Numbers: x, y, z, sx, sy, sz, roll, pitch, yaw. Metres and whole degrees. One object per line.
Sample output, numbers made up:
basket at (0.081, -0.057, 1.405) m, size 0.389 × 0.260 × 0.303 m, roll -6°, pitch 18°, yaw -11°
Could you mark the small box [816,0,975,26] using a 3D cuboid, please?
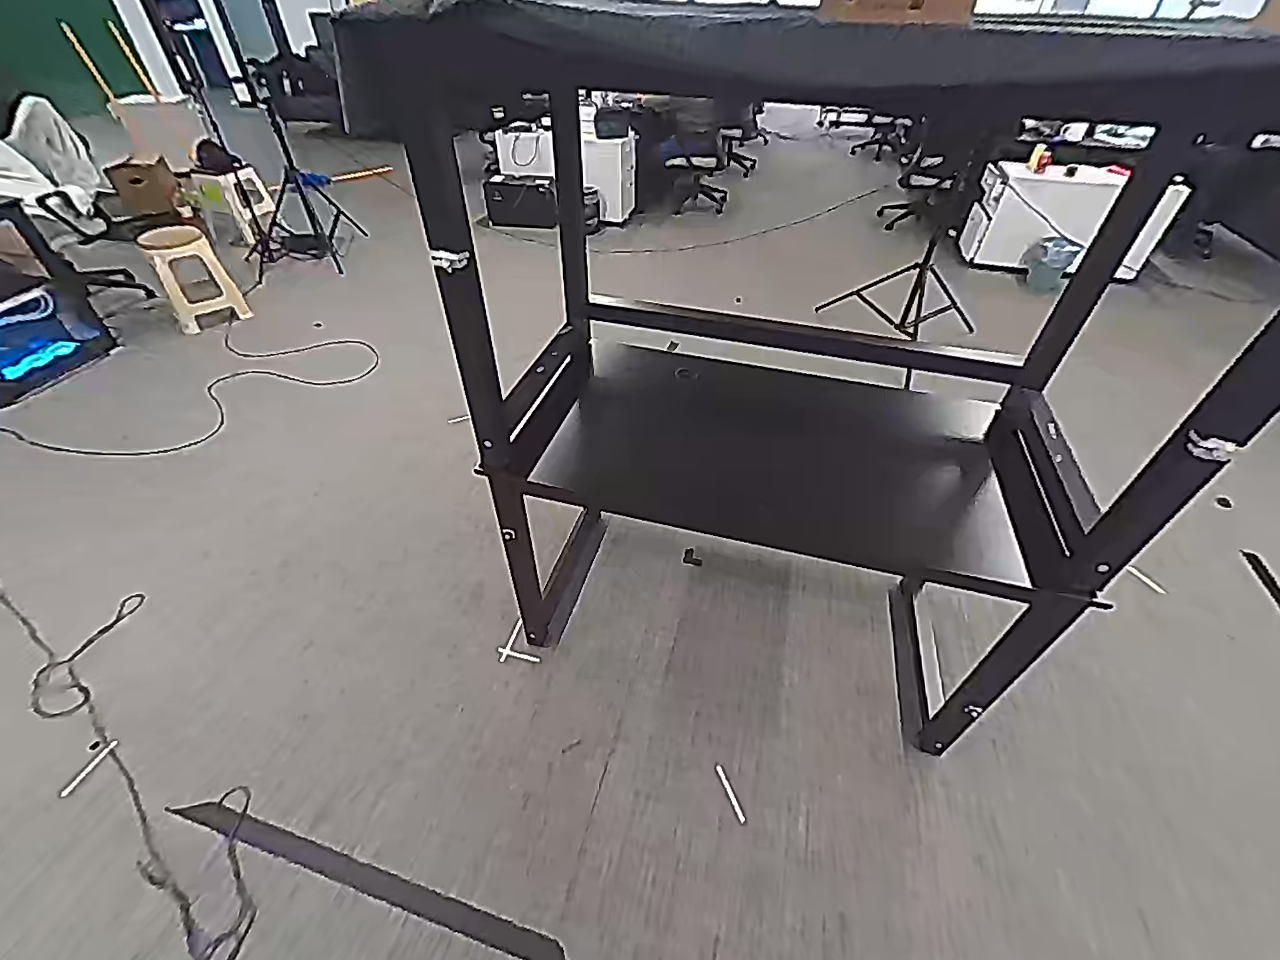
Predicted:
small box at (0.302, -0.625, 0.609) m, size 0.168 × 0.176 × 0.179 m, roll 11°, pitch 42°, yaw 10°
